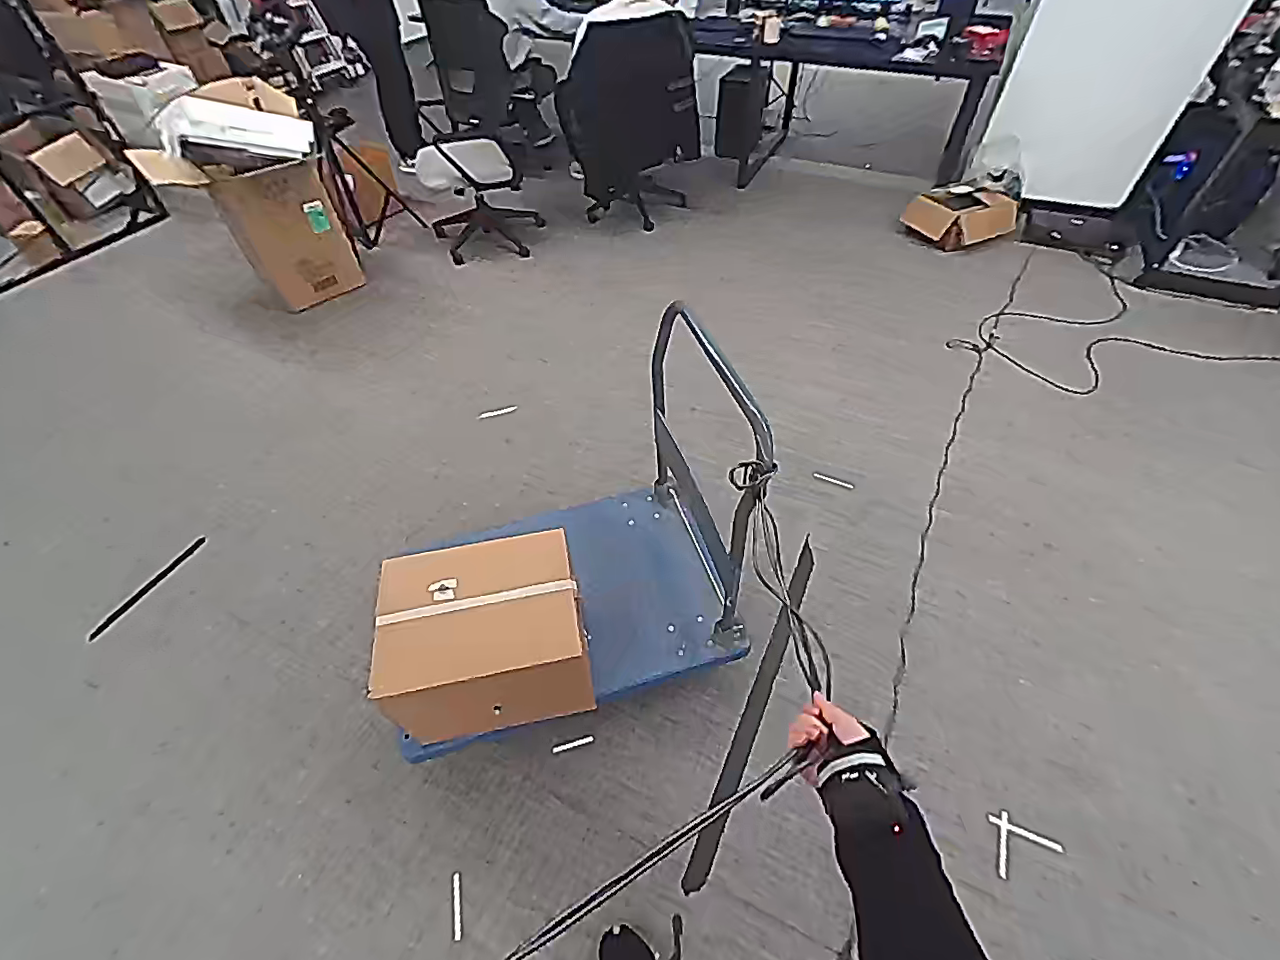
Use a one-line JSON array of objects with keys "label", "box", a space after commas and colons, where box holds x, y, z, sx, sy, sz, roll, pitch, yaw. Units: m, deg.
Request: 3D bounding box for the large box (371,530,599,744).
[{"label": "large box", "box": [-0.326, 0.357, 1.222, 0.408, 0.320, 0.320, -10, 49, -6]}]
